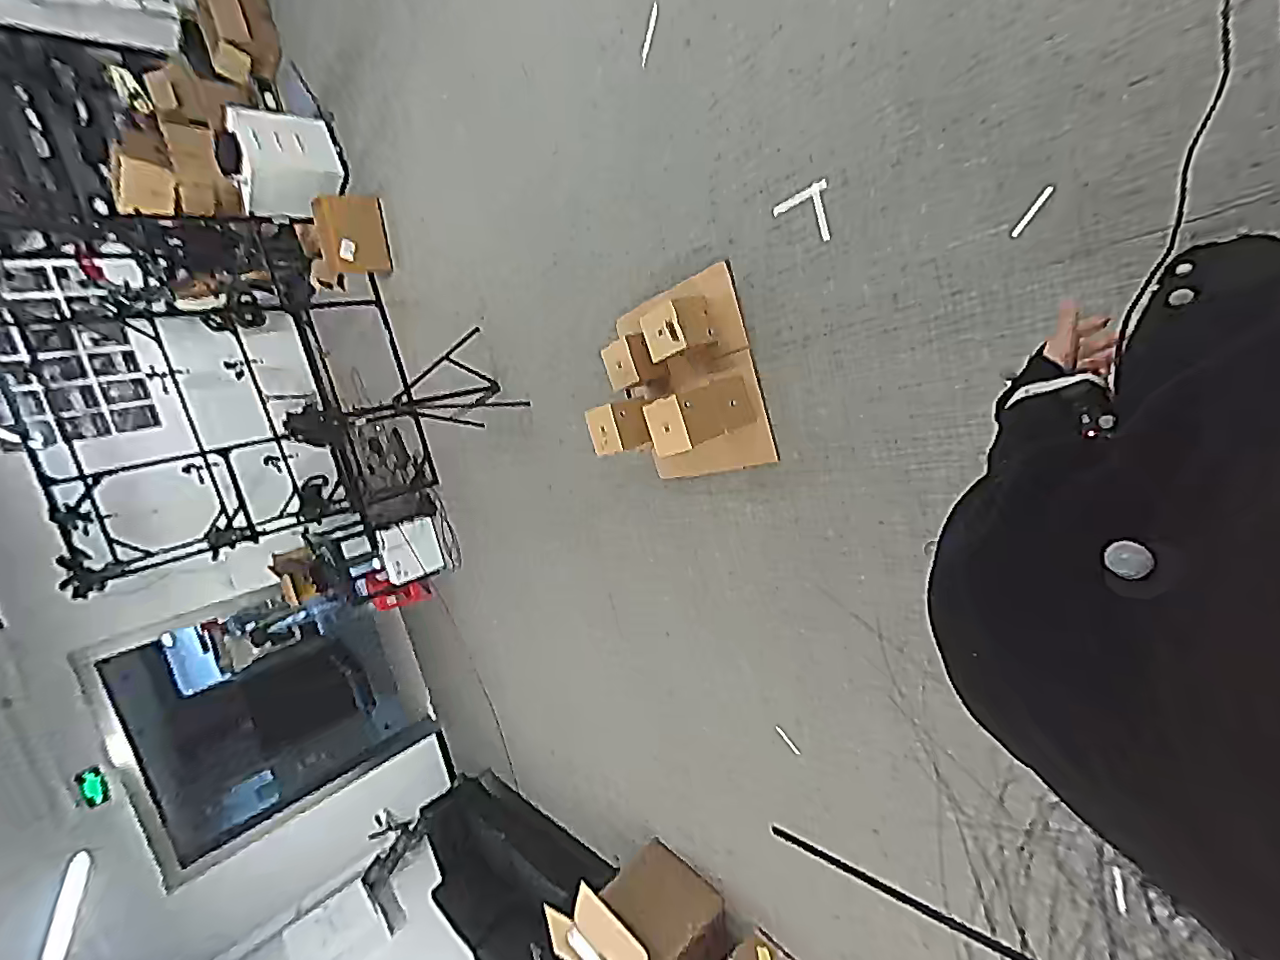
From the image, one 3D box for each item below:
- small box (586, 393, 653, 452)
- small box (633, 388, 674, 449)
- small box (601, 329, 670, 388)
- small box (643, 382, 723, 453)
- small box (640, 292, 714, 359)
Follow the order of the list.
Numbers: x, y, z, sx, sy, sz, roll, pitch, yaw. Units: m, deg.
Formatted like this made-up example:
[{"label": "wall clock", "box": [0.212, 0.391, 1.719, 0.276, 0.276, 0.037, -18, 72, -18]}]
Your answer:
[{"label": "small box", "box": [-0.068, -0.213, 1.982, 0.168, 0.176, 0.179, -9, 100, 51]}, {"label": "small box", "box": [0.058, -0.237, 2.089, 0.168, 0.176, 0.179, -15, 96, 50]}, {"label": "small box", "box": [-0.014, -0.471, 2.071, 0.168, 0.176, 0.179, -15, 96, 52]}, {"label": "small box", "box": [0.144, -0.203, 1.748, 0.168, 0.176, 0.179, -12, 98, 50]}, {"label": "small box", "box": [0.136, -0.535, 1.866, 0.179, 0.176, 0.168, -14, 96, 51]}]
